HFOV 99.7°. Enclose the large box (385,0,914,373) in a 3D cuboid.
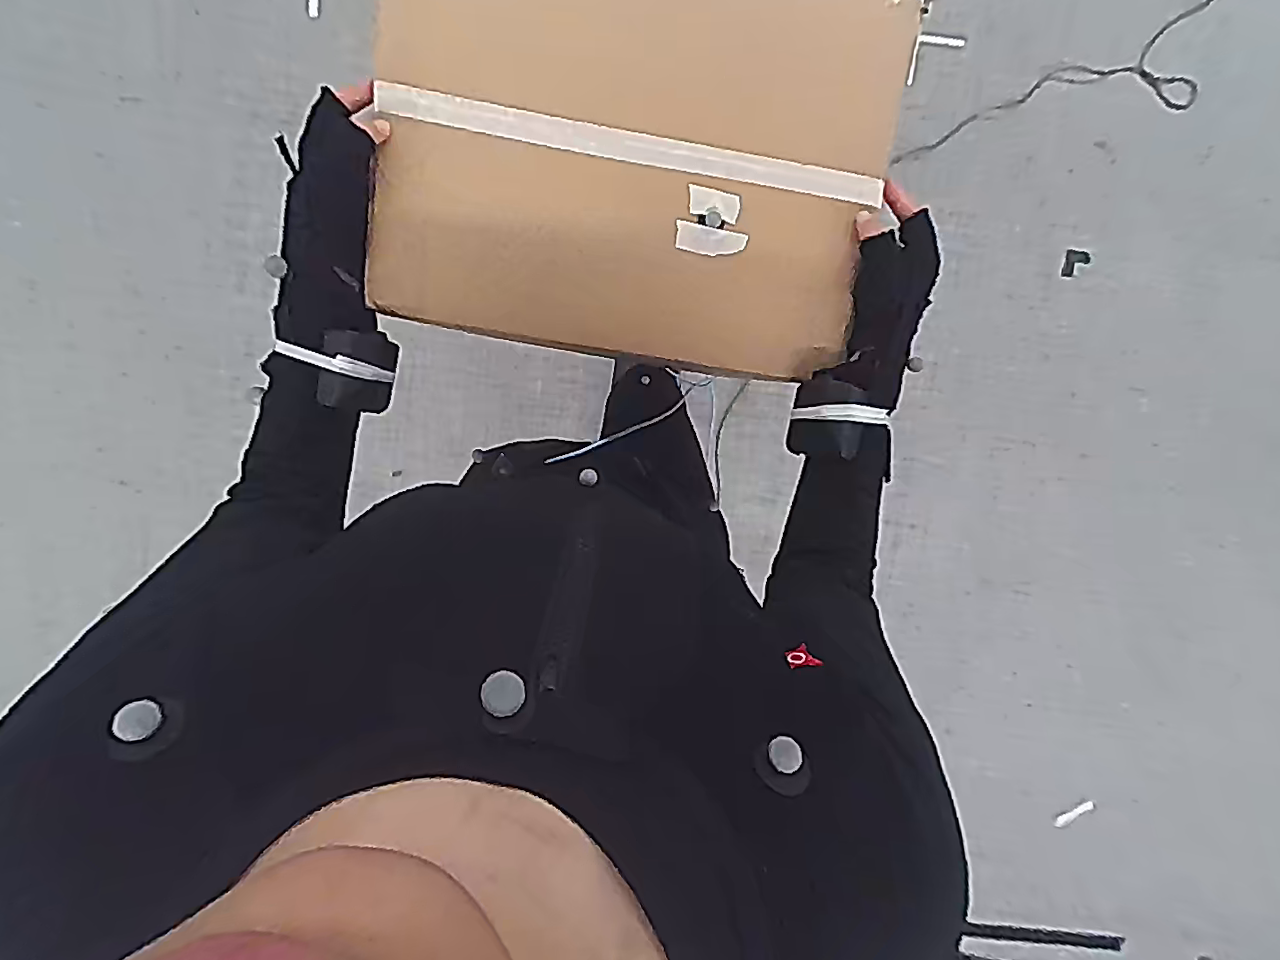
[{"bbox_3d":[-0.009,-0.299,0.585,0.408,0.320,0.320,8,102,-6],"label":"large box"}]
